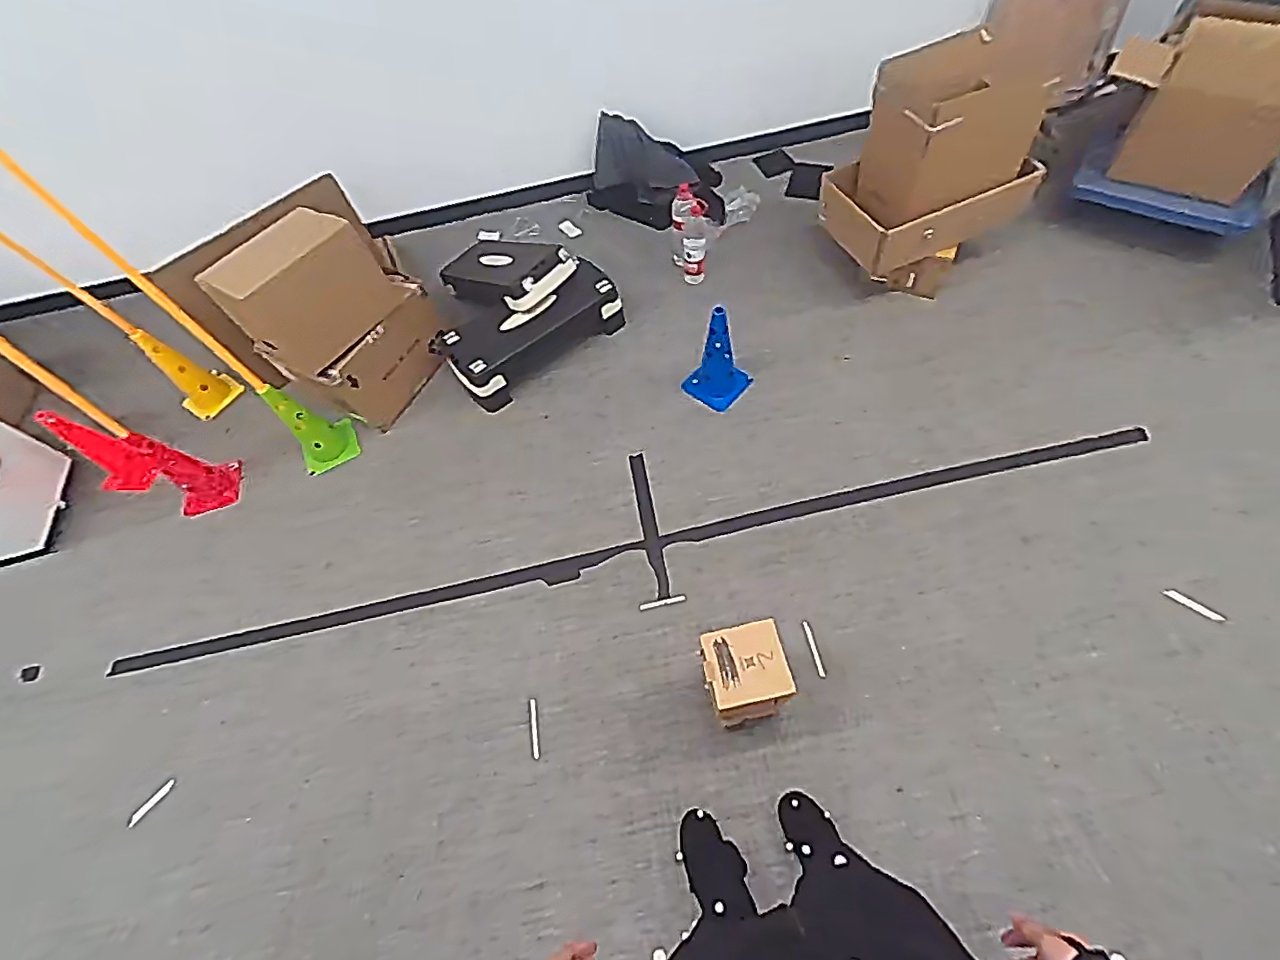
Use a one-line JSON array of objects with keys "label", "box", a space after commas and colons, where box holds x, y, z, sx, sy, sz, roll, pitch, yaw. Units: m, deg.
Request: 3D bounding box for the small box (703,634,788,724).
[{"label": "small box", "box": [0.269, 0.521, 1.401, 0.168, 0.176, 0.179, -16, 60, -2]}]
